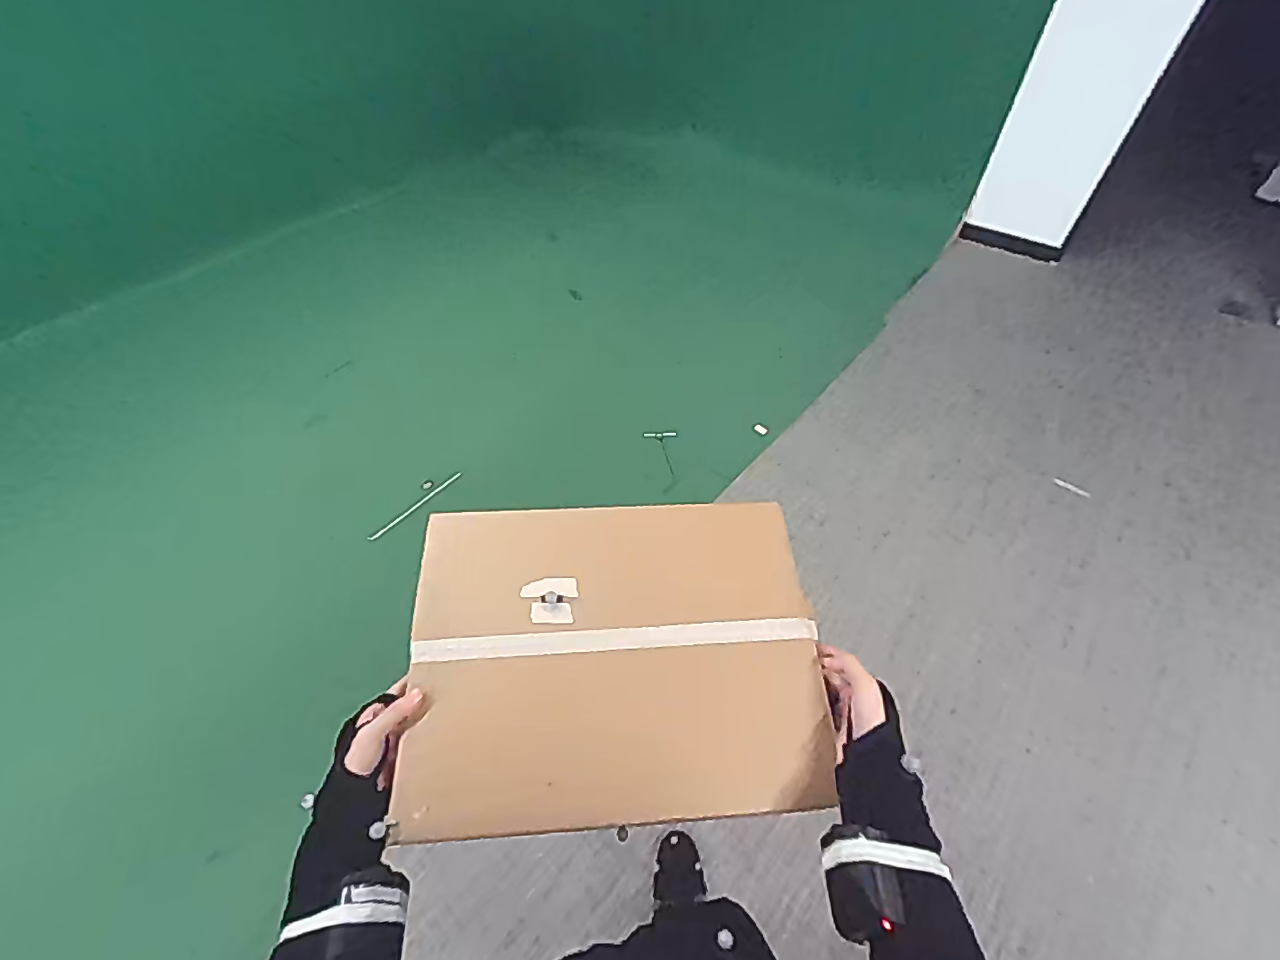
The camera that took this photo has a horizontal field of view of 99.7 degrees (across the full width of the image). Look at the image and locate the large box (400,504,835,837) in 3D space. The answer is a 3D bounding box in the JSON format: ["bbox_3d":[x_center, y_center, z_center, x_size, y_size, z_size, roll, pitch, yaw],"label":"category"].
[{"bbox_3d":[-0.031,0.245,0.690,0.408,0.320,0.320,-2,58,-4],"label":"large box"}]
